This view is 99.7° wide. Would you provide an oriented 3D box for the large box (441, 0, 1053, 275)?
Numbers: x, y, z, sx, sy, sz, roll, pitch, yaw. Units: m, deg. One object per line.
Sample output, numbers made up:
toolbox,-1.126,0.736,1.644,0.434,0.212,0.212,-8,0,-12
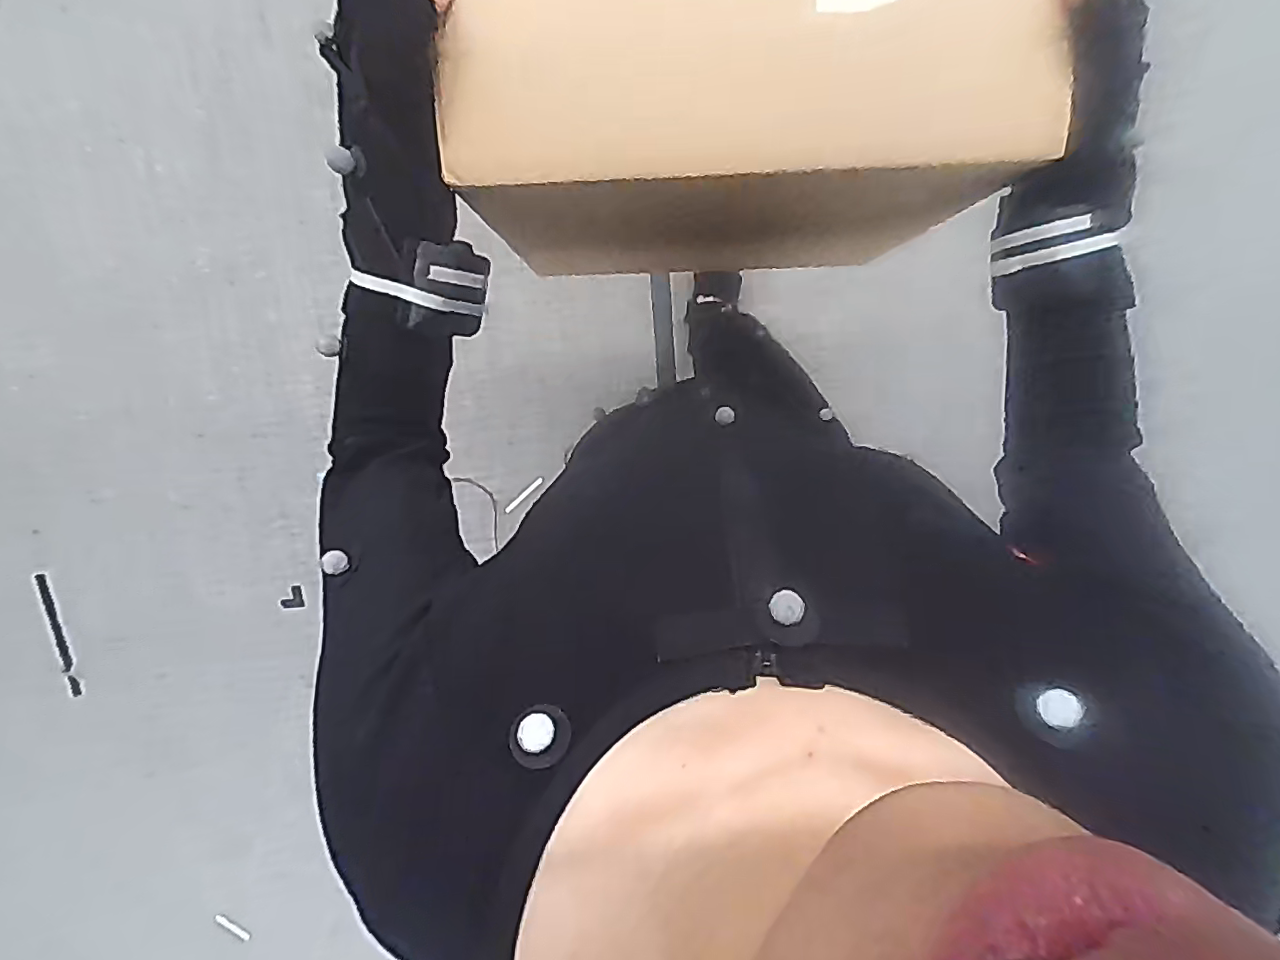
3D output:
large box,0.064,-0.389,0.489,0.408,0.320,0.320,-3,99,0
